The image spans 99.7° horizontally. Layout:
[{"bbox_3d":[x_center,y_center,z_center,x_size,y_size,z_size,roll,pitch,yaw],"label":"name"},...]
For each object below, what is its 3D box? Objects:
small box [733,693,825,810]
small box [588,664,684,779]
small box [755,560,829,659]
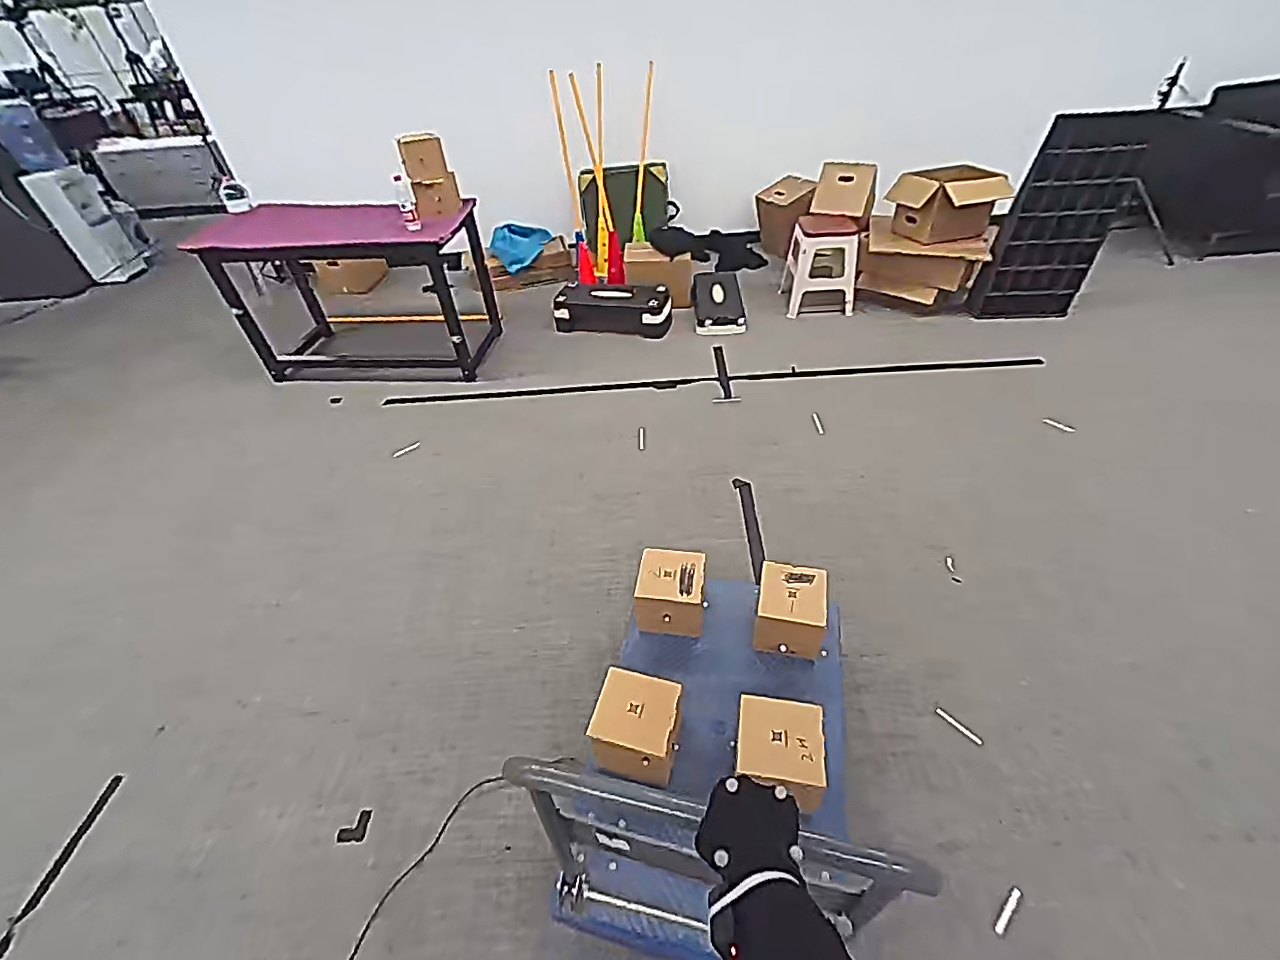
[{"bbox_3d":[0.298,0.592,1.175,0.179,0.176,0.168,6,44,11],"label":"small box"},{"bbox_3d":[-0.003,0.556,1.240,0.179,0.176,0.168,10,44,13],"label":"small box"},{"bbox_3d":[0.400,0.344,1.435,0.168,0.176,0.179,8,45,13],"label":"small box"}]
